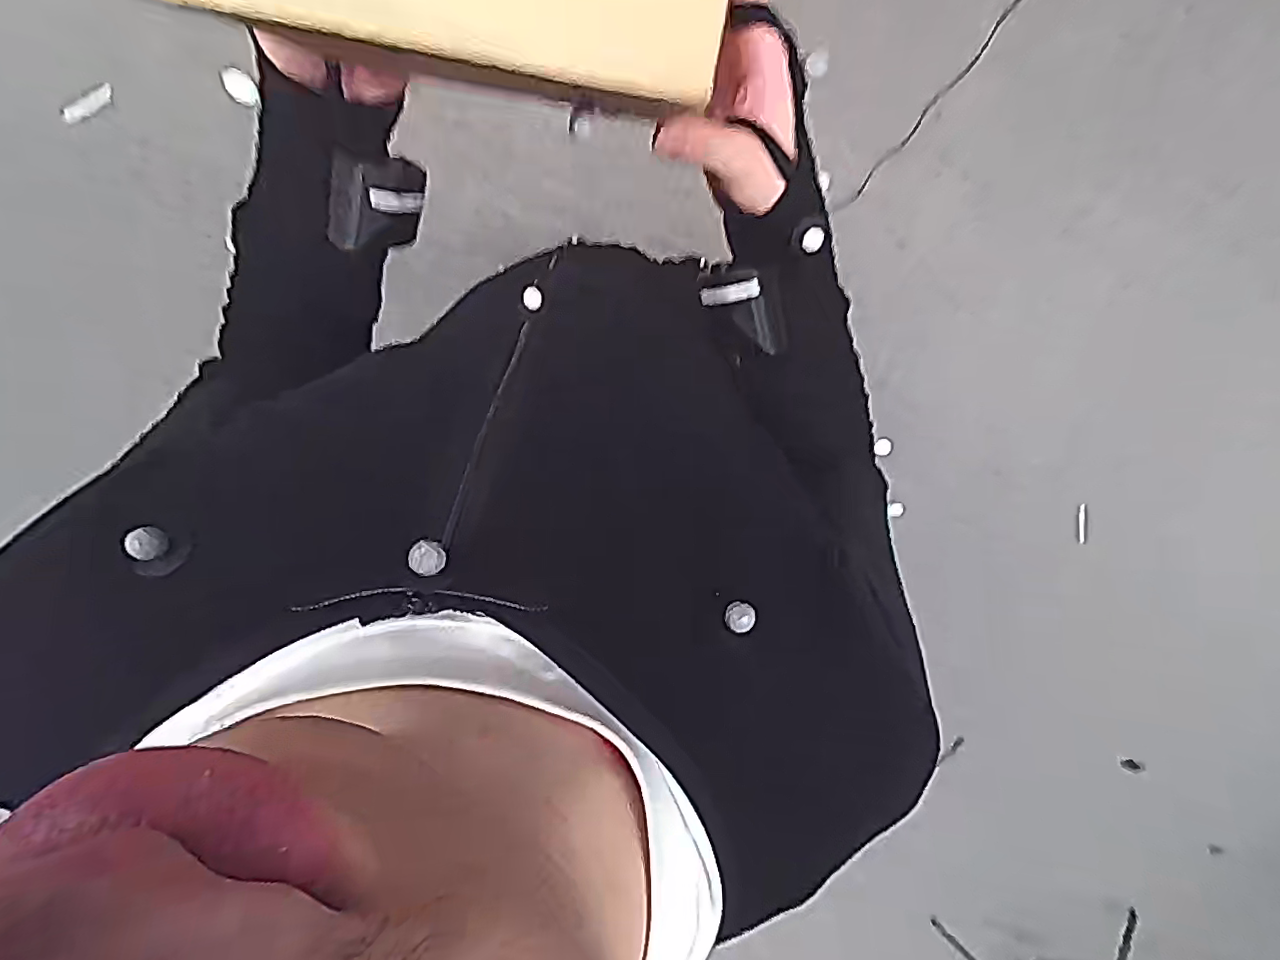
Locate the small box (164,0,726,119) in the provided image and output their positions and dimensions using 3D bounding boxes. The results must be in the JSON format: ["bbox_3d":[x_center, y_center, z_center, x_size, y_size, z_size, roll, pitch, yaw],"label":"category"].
[{"bbox_3d":[-0.054,-0.247,0.202,0.179,0.176,0.168,6,120,-6],"label":"small box"}]
